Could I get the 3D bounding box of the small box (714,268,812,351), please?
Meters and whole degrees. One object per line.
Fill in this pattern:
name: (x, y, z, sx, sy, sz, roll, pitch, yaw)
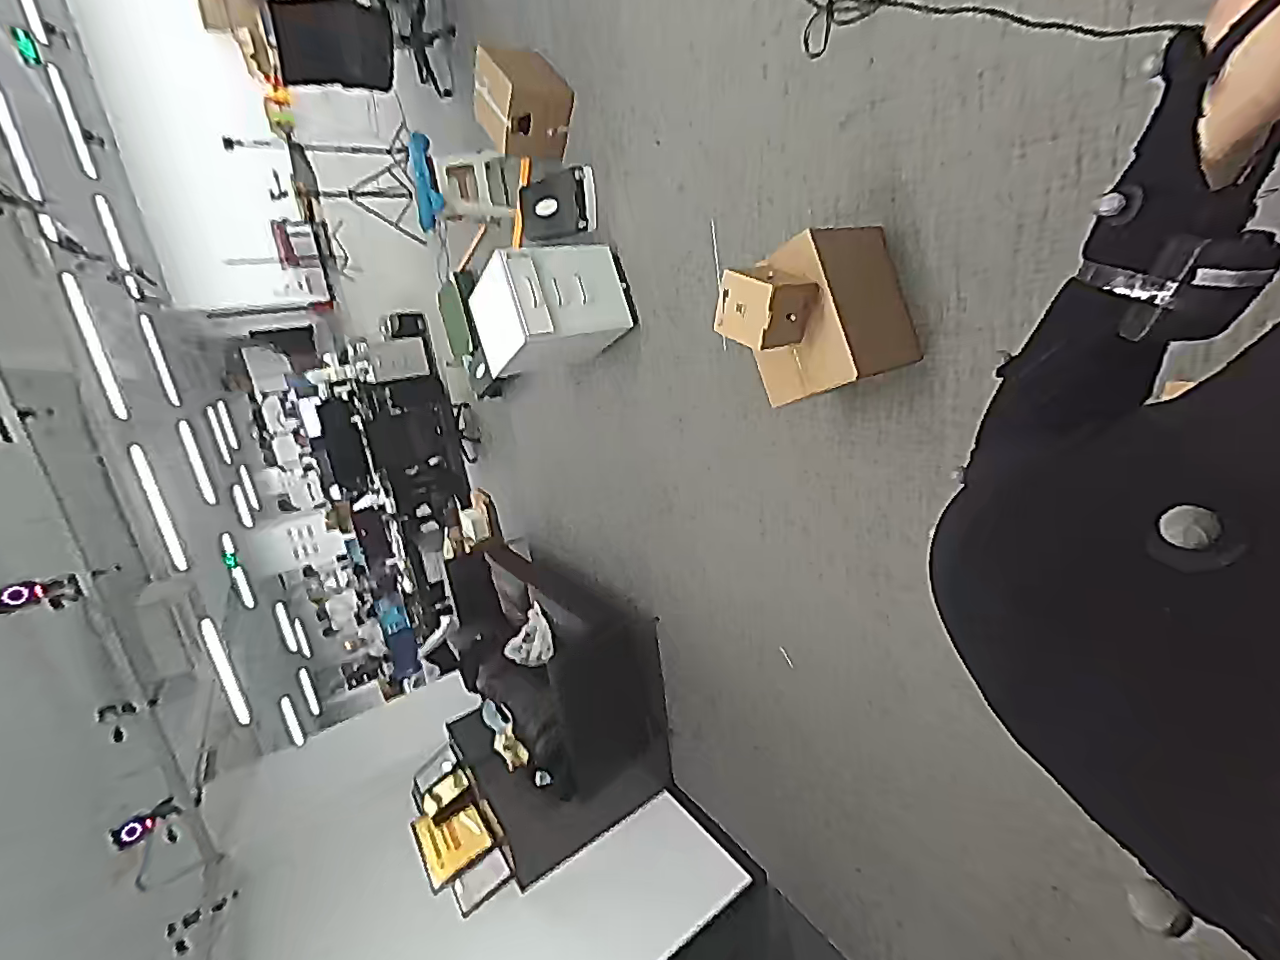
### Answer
small box: (0.327, -0.460, 1.437, 0.179, 0.176, 0.168, 38, 135, 39)
